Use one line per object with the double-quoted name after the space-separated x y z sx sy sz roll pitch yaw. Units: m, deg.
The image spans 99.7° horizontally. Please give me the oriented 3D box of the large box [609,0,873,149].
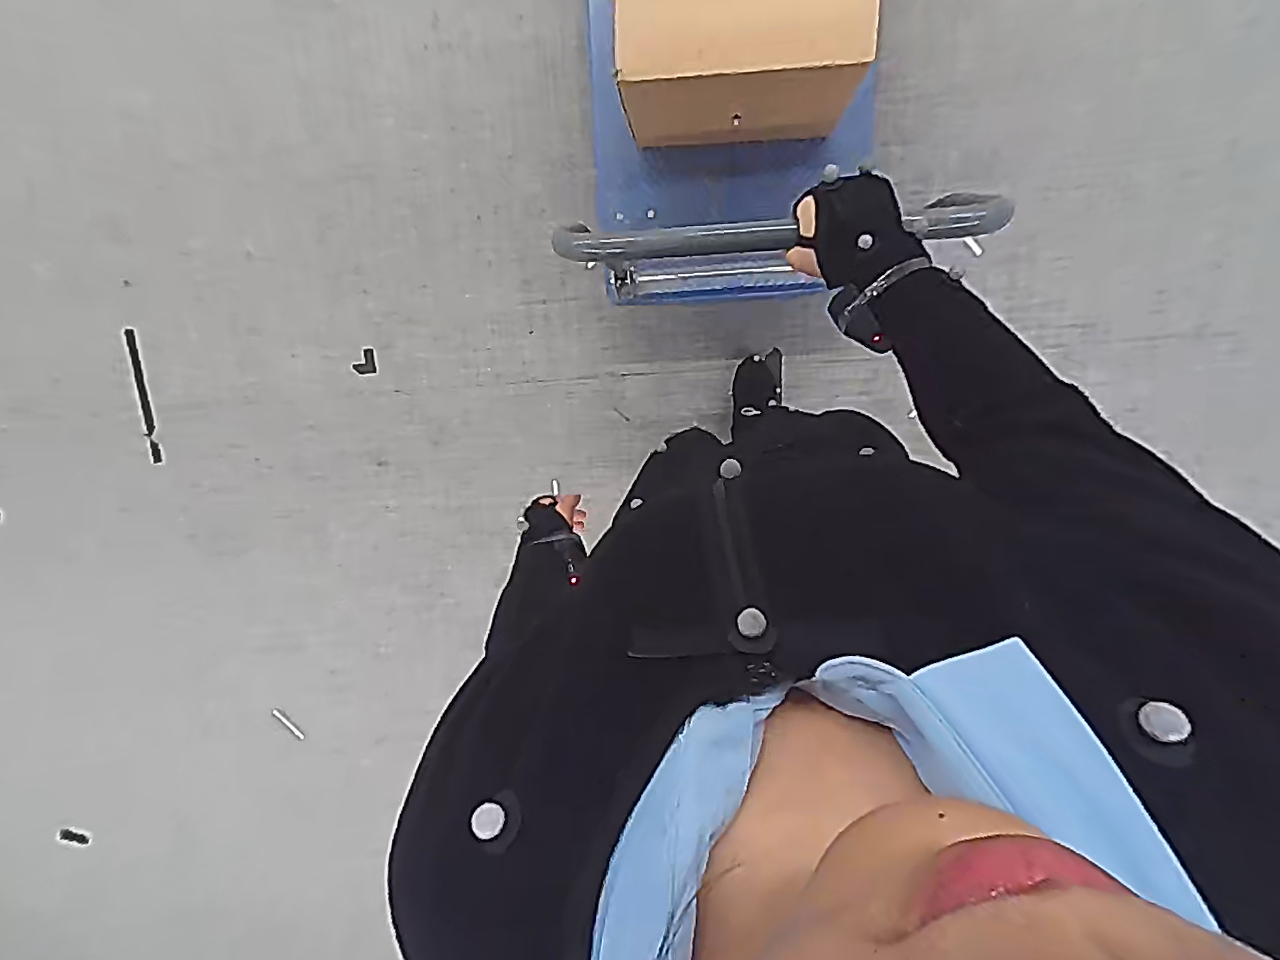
0.166 -0.816 0.952 0.408 0.320 0.320 0 103 7 "large box"
